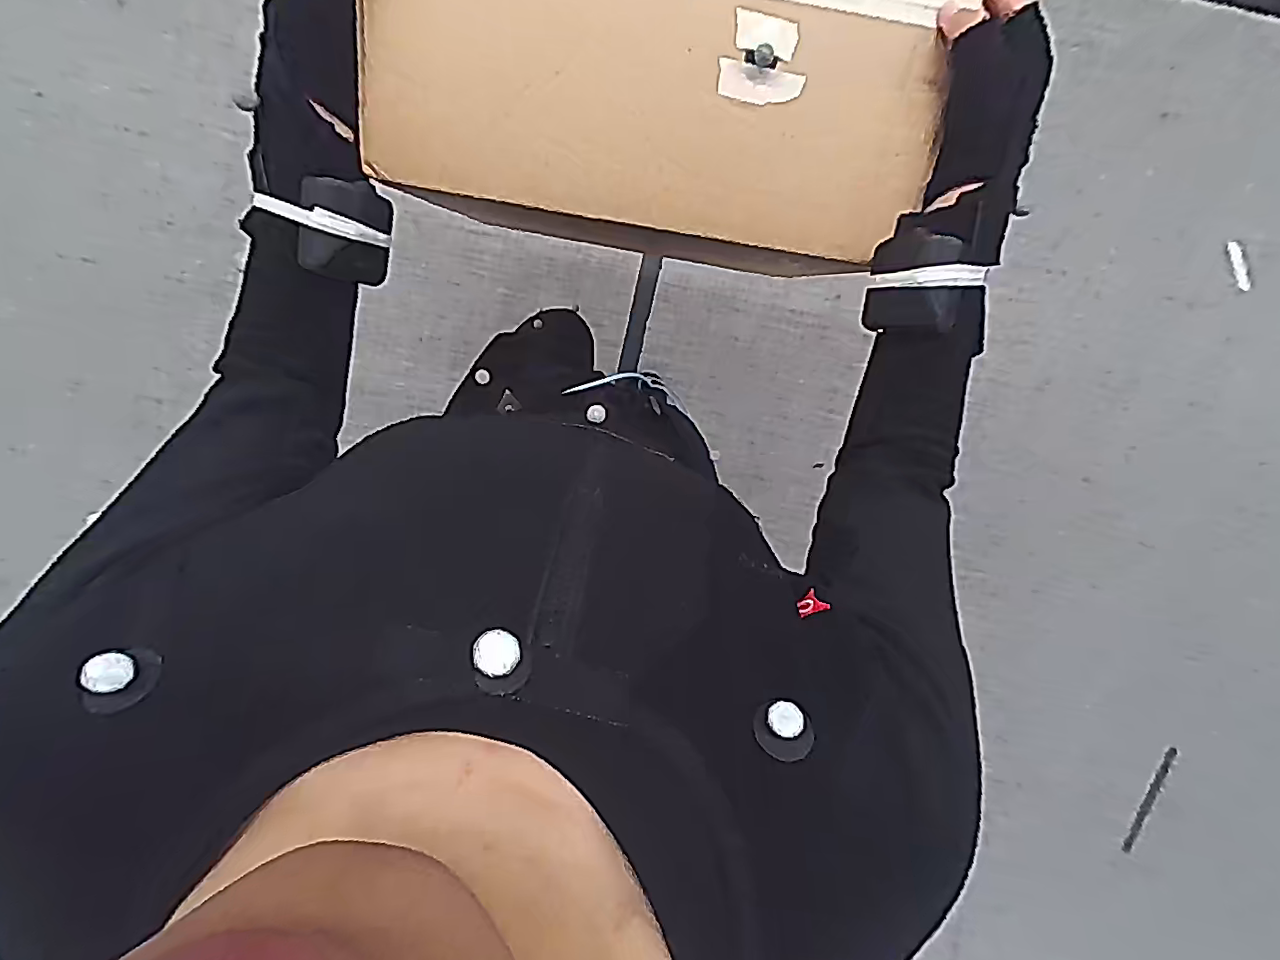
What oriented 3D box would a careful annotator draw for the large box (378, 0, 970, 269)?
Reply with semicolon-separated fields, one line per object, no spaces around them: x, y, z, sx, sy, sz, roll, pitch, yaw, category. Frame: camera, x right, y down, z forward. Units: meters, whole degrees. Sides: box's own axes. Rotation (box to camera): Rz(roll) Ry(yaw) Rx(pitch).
0.022;-0.389;0.500;0.408;0.320;0.320;8;111;-4;large box
